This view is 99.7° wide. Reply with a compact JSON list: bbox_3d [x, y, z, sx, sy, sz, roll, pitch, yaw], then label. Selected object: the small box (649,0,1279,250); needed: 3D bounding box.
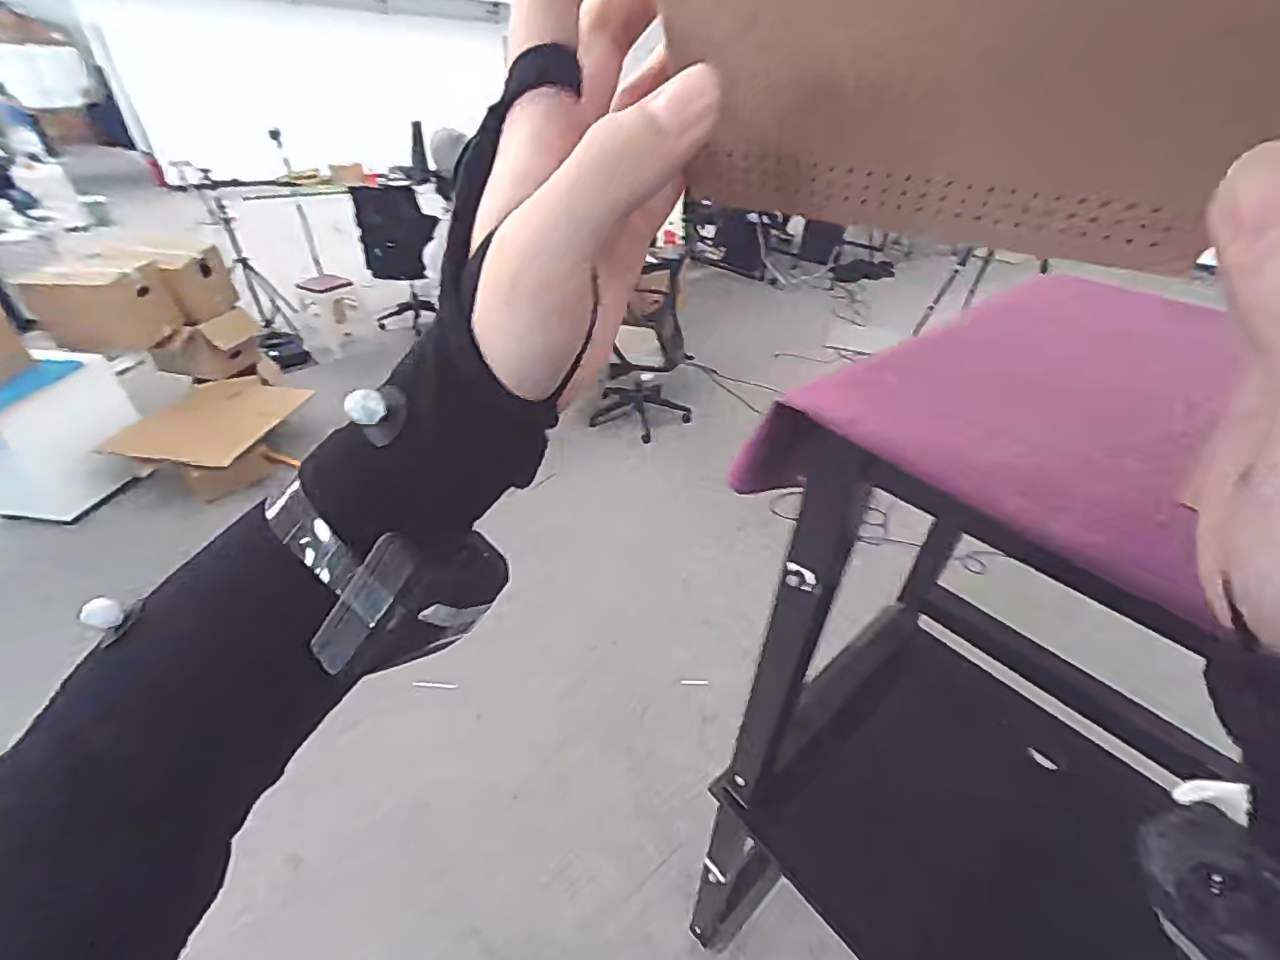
[{"bbox_3d":[0.103,-0.191,0.146,0.179,0.176,0.168,19,79,17],"label":"small box"}]
